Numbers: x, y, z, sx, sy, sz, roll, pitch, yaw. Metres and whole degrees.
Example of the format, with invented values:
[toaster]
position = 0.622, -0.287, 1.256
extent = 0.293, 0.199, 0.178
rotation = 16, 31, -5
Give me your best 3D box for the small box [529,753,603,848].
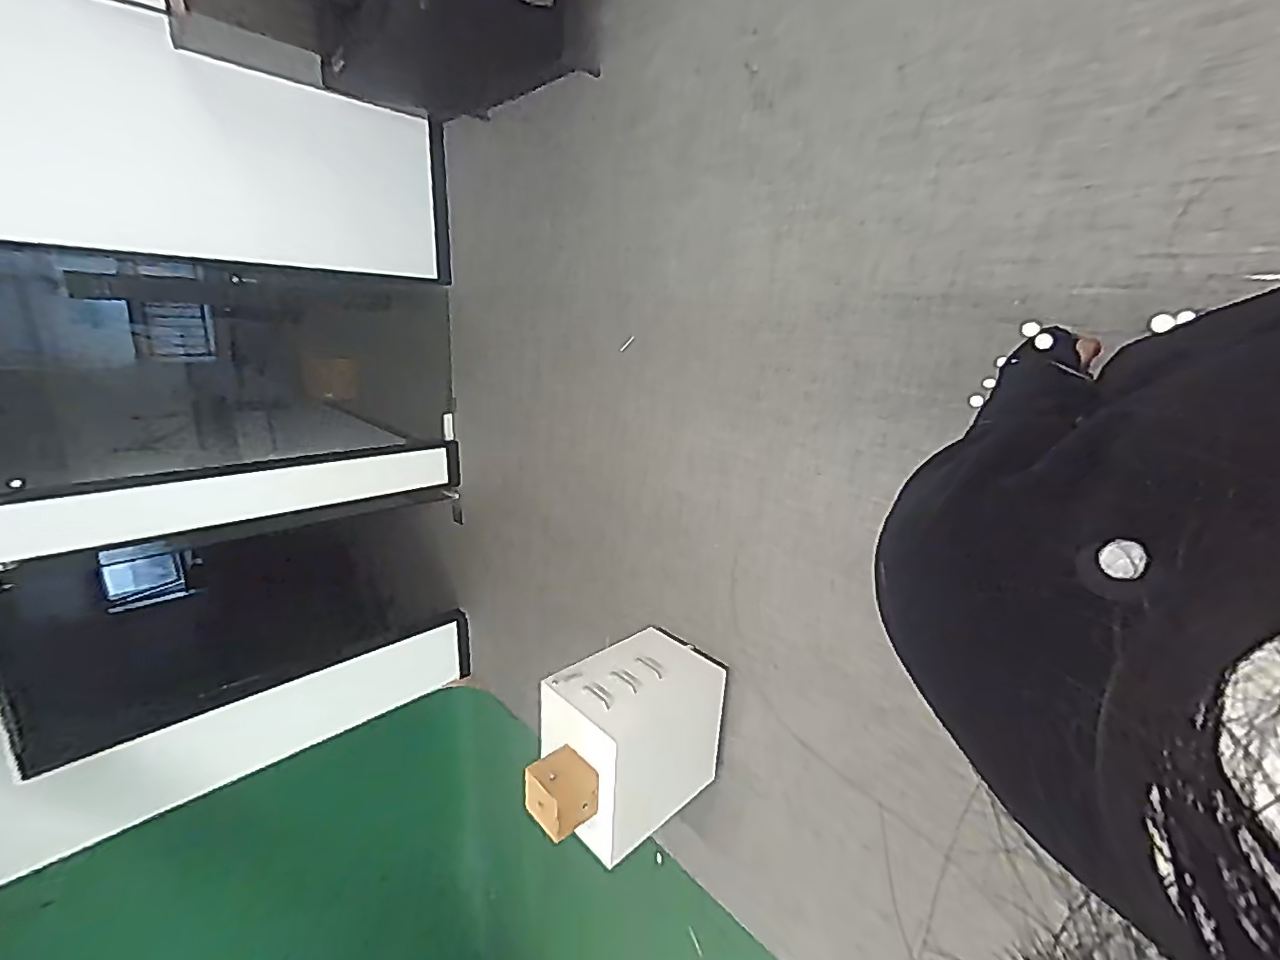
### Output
[small box]
position = -0.238, 1.011, 1.731
extent = 0.179, 0.176, 0.168
rotation = 18, 112, 44
